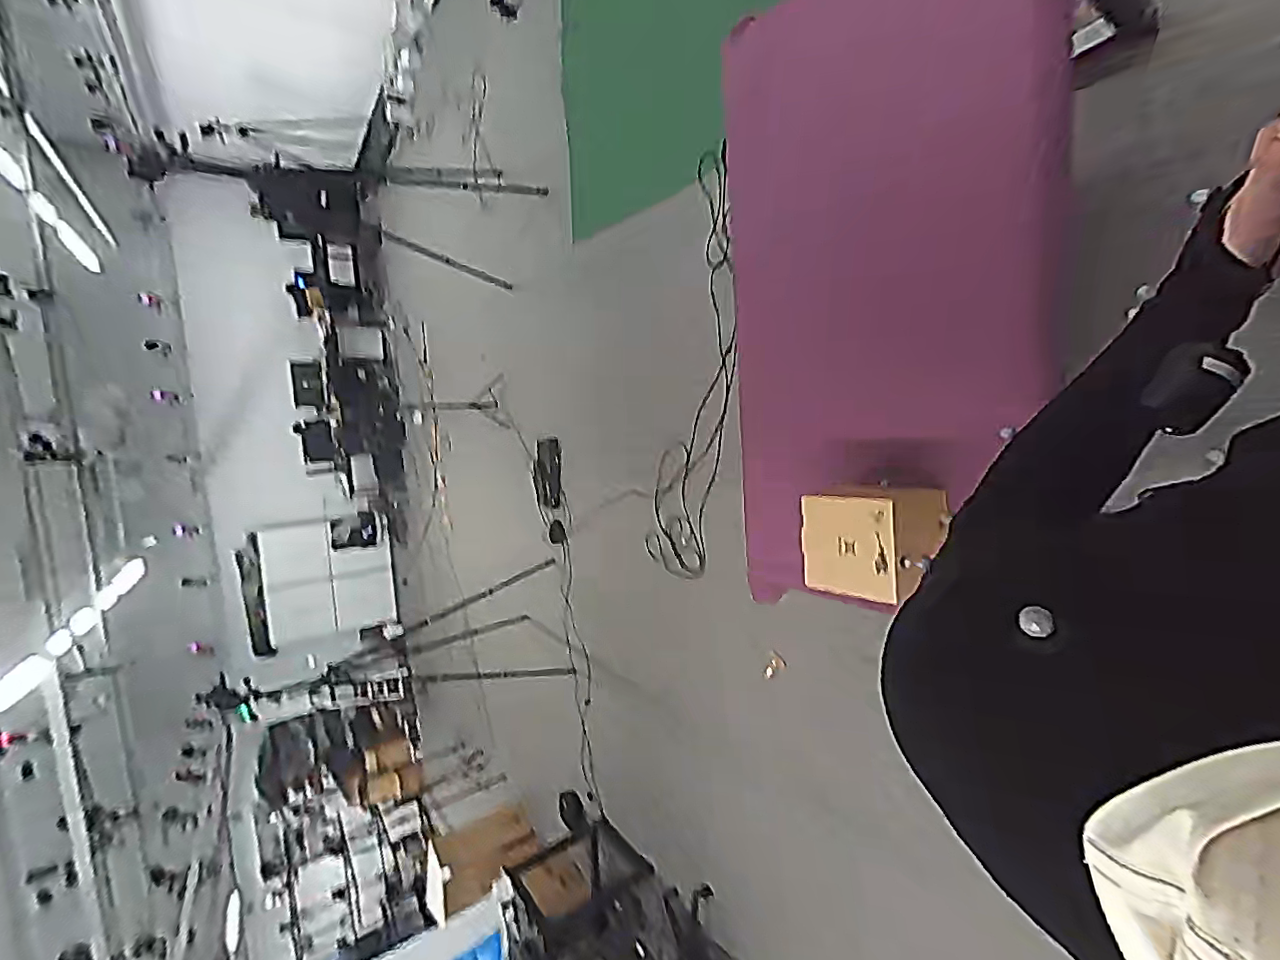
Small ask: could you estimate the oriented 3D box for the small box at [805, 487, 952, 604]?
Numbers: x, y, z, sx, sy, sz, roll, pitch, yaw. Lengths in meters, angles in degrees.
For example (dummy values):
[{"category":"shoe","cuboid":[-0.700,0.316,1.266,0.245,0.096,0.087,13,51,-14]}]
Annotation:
[{"category":"small box","cuboid":[0.417,0.105,0.949,0.179,0.176,0.168,1,97,56]}]
